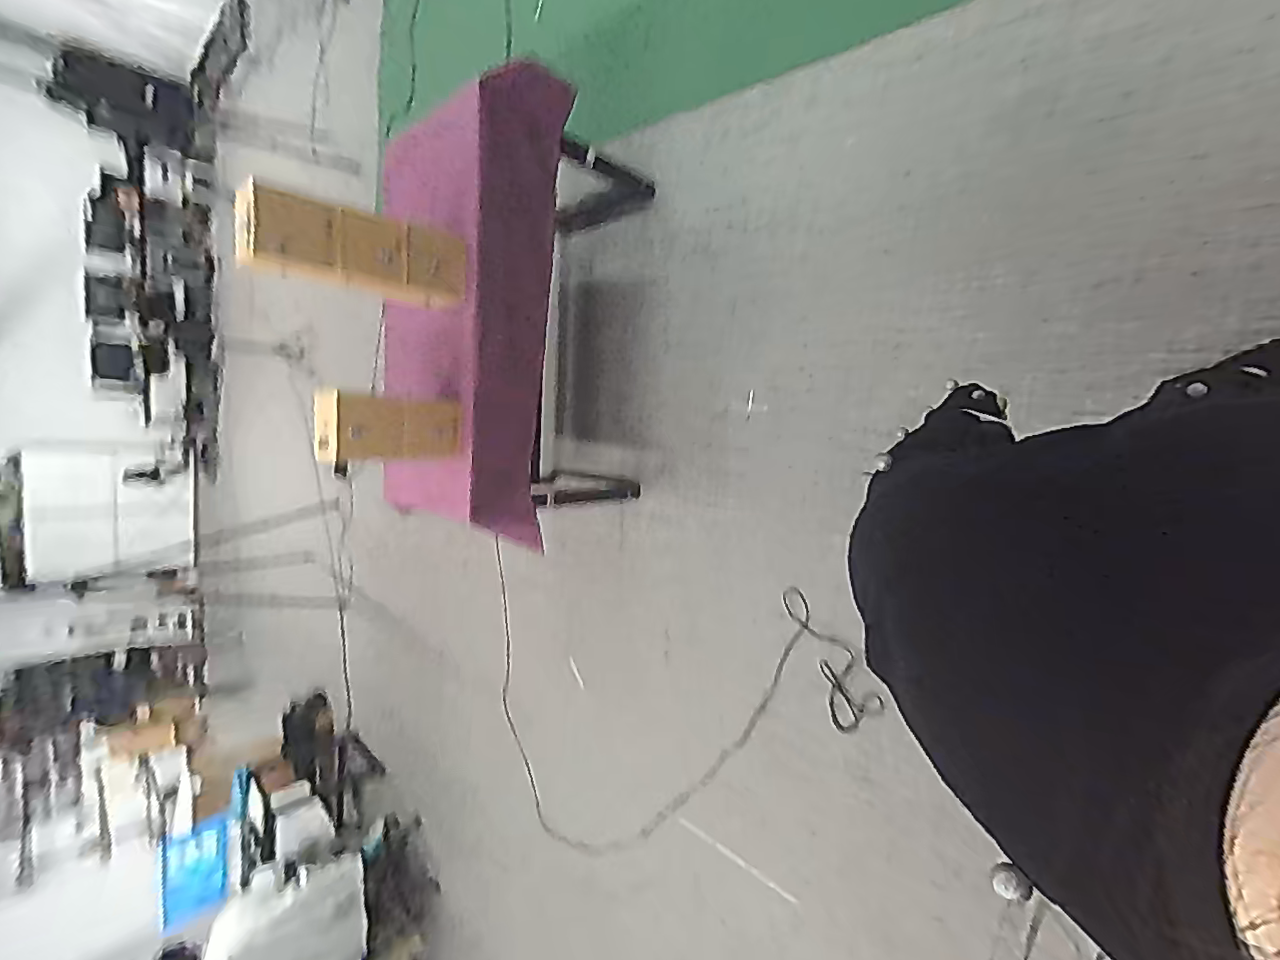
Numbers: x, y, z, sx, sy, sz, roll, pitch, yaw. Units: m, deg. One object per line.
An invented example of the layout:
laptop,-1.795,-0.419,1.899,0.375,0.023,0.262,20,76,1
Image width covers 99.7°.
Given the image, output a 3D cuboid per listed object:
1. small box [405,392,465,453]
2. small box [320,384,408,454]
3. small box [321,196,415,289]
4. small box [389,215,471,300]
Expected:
small box,-0.620,-0.166,1.558,0.179,0.176,0.168,9,97,43
small box,-0.732,-0.160,1.437,0.168,0.176,0.179,8,96,42
small box,-0.702,-0.602,1.395,0.179,0.176,0.168,9,98,42
small box,-0.585,-0.609,1.509,0.168,0.176,0.179,7,97,43
